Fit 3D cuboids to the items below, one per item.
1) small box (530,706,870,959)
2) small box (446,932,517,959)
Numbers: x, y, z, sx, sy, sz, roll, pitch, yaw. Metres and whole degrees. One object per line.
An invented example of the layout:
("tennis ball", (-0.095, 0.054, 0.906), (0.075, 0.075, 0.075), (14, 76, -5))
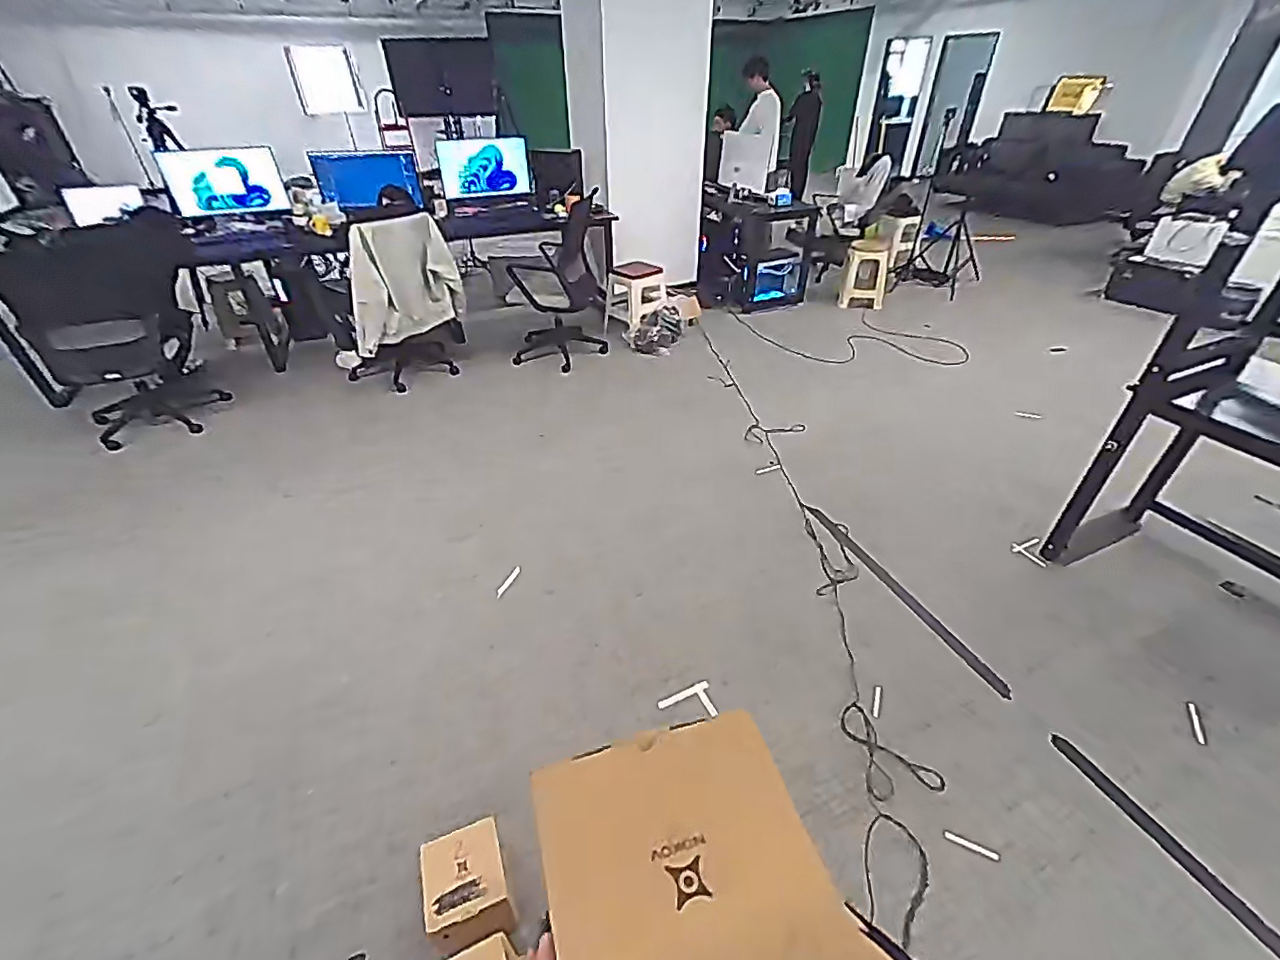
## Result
("small box", (0.024, 0.296, 0.372), (0.168, 0.176, 0.179), (-9, 39, -17))
("small box", (-0.285, 0.919, 0.910), (0.179, 0.176, 0.168), (-16, 39, -19))
